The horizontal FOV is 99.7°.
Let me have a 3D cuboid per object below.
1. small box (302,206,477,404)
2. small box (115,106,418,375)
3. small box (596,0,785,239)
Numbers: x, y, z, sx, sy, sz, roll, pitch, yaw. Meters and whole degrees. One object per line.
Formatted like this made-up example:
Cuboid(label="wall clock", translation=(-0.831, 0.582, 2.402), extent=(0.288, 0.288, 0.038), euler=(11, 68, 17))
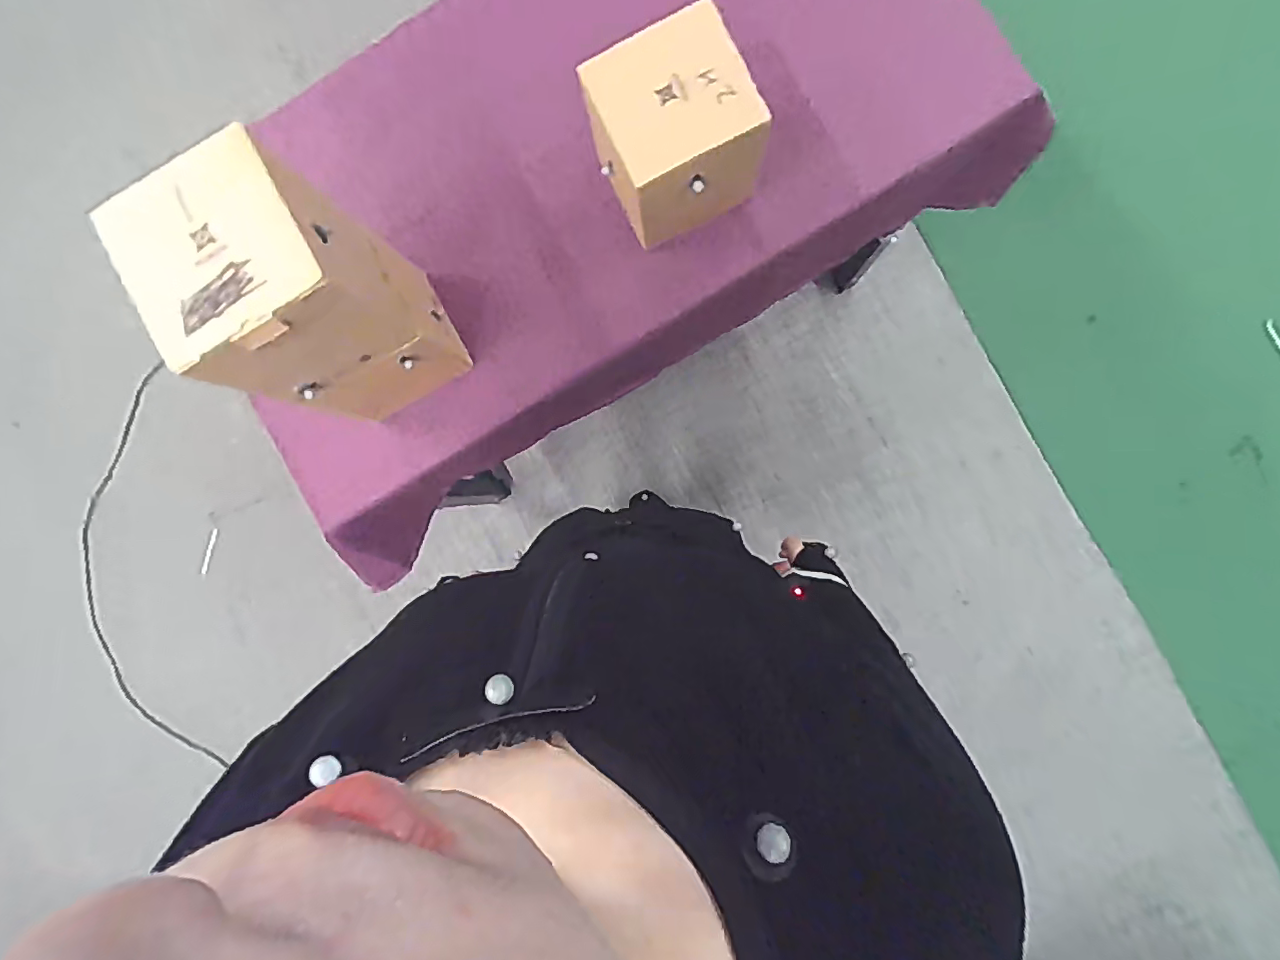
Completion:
Cuboid(label="small box", translation=(-0.354, -0.220, 0.734), extent=(0.179, 0.176, 0.168), euler=(-27, 87, 3))
Cuboid(label="small box", translation=(-0.371, -0.227, 0.570), extent=(0.168, 0.176, 0.179), euler=(-28, 86, 3))
Cuboid(label="small box", translation=(0.064, -0.448, 0.701), extent=(0.179, 0.176, 0.168), euler=(-23, 88, 4))
